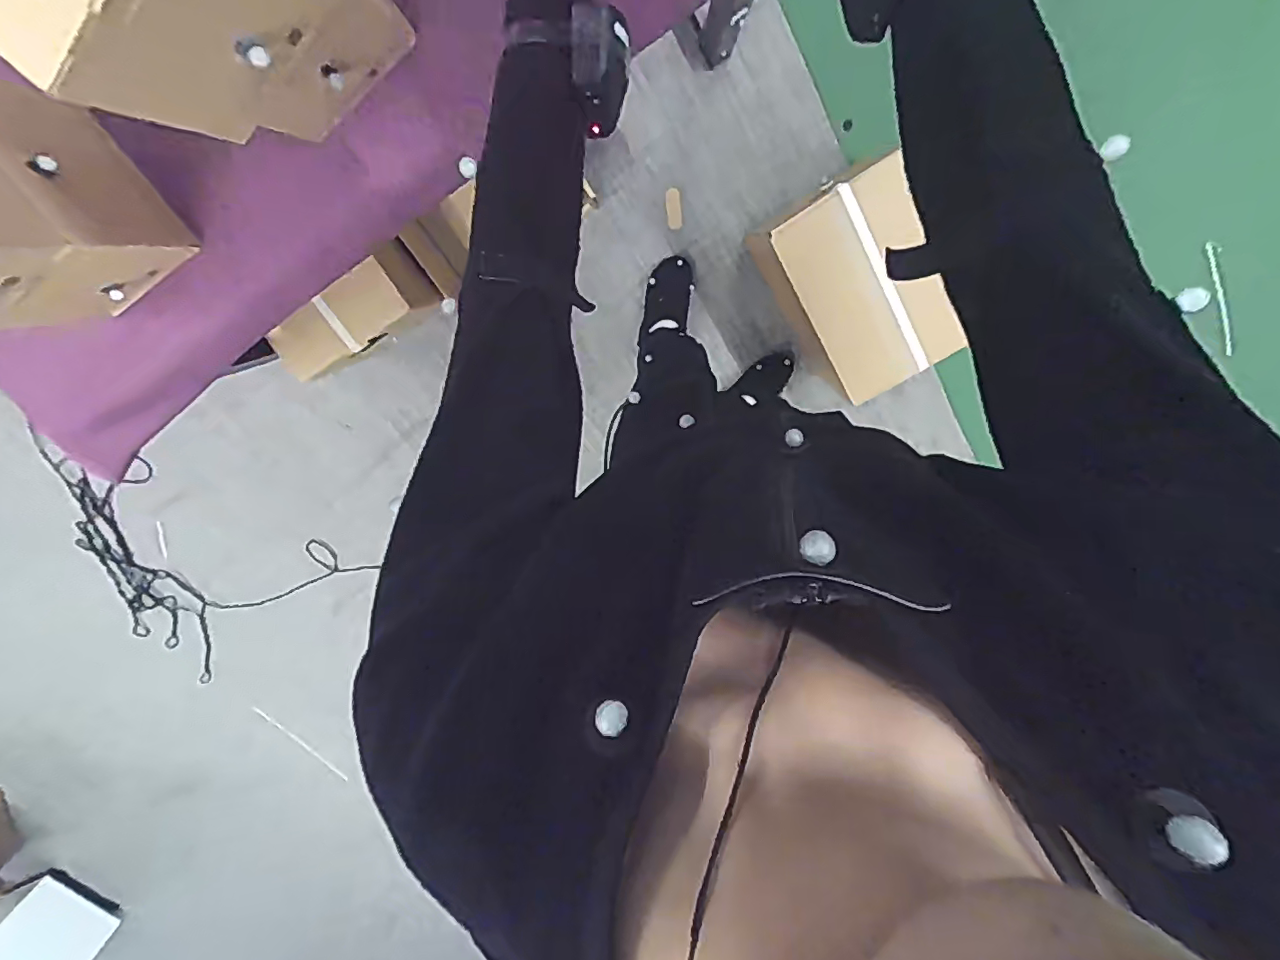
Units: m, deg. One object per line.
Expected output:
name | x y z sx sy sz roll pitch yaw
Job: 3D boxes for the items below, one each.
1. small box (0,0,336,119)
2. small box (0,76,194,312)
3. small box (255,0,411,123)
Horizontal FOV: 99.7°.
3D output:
small box | -0.346 -0.379 0.349 0.168 0.176 0.179 -39 107 17
small box | -0.651 -0.296 0.575 0.168 0.176 0.179 -28 110 12
small box | -0.350 -0.464 0.494 0.168 0.176 0.179 -33 108 14
